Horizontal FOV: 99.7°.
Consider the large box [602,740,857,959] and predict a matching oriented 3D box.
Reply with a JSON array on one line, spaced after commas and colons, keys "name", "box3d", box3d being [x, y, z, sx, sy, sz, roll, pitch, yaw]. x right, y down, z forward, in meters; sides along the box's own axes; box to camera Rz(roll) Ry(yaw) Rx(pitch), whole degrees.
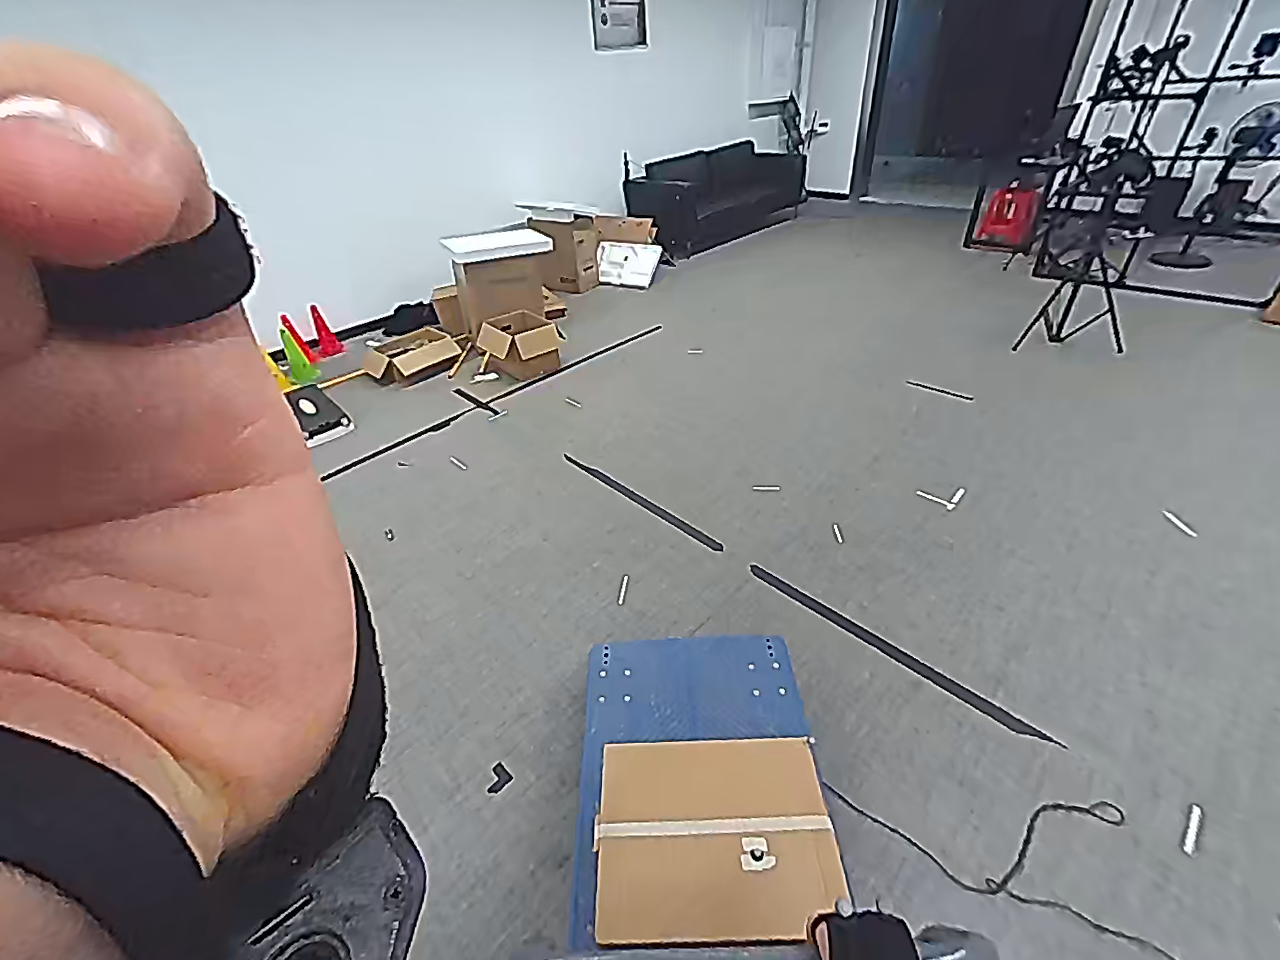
[{"name": "large box", "box3d": [0.139, 0.735, 1.034, 0.408, 0.320, 0.320, -3, 37, 1]}]
